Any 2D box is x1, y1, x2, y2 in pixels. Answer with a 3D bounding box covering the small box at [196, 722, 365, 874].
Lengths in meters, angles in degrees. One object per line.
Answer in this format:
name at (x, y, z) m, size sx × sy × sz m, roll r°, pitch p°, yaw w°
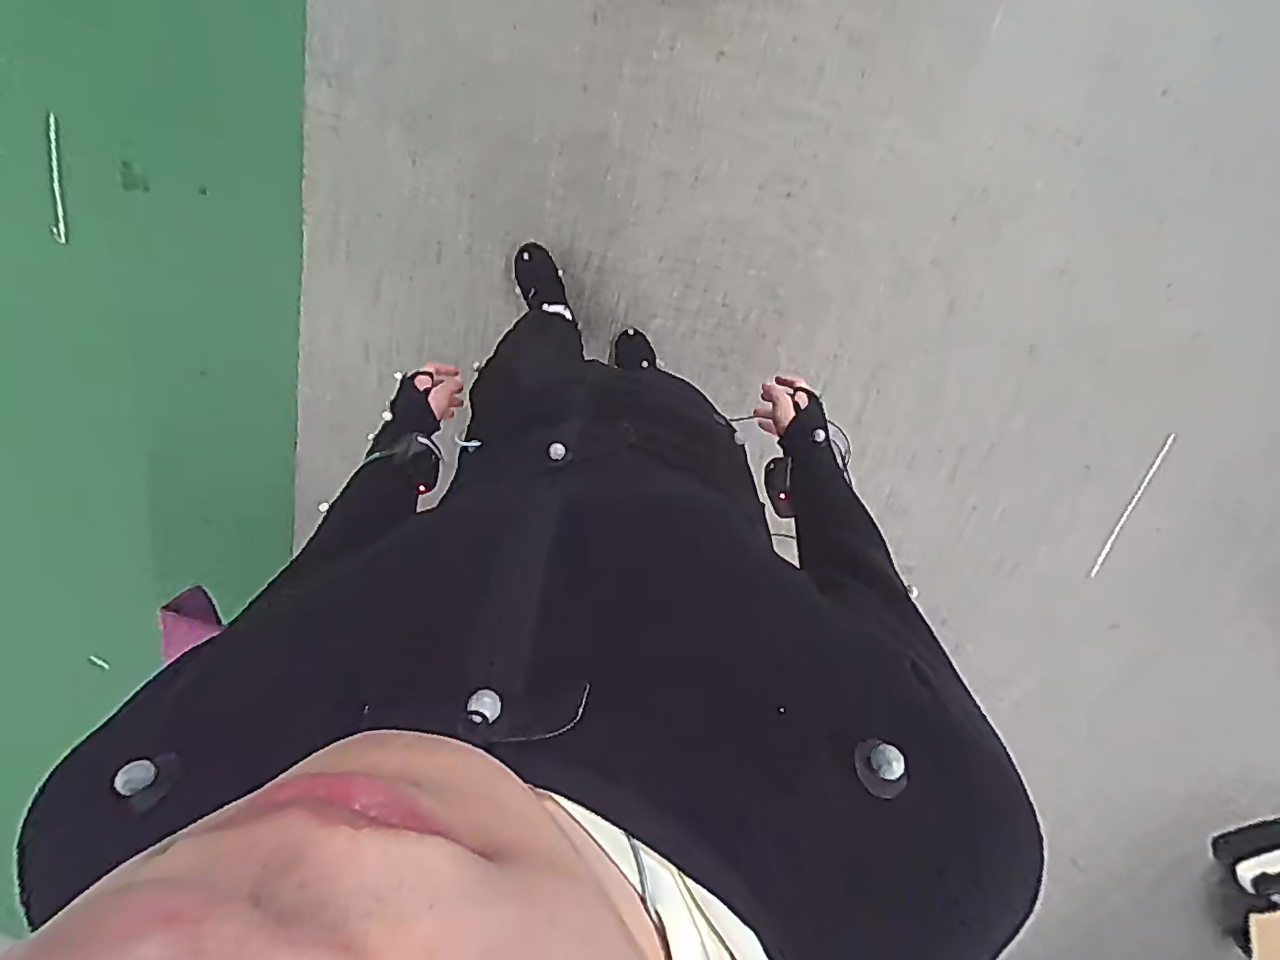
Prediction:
small box at (-0.678, 0.606, 1.043) m, size 0.179 × 0.176 × 0.168 m, roll -20°, pitch 109°, yaw 8°
